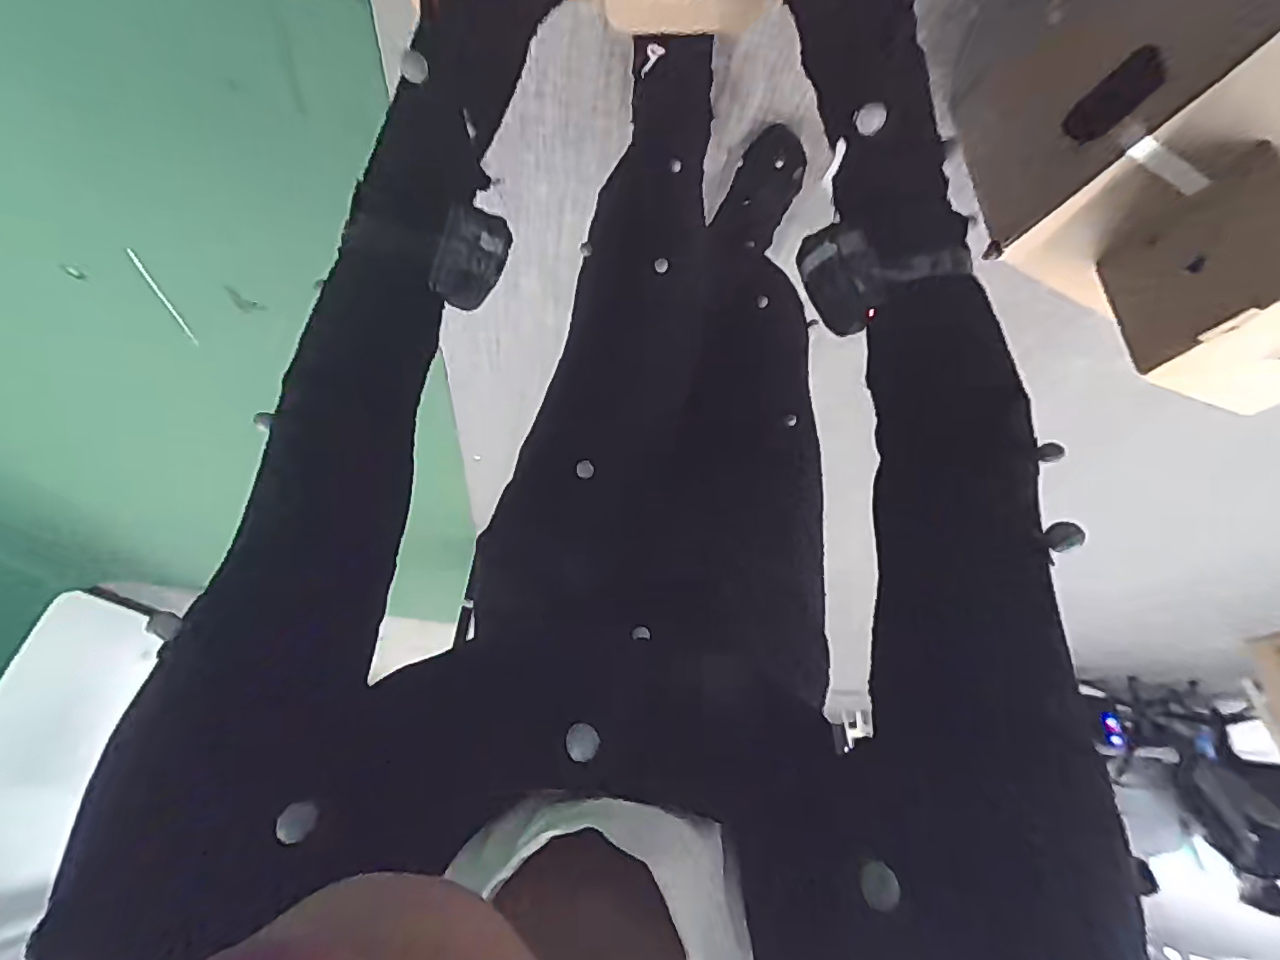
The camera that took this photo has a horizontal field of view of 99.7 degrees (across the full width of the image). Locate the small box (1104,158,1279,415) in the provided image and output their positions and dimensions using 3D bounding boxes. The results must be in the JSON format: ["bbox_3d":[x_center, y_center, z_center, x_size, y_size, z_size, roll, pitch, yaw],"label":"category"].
[{"bbox_3d":[0.646,-0.199,0.566,0.179,0.176,0.168,14,152,-13],"label":"small box"}]
